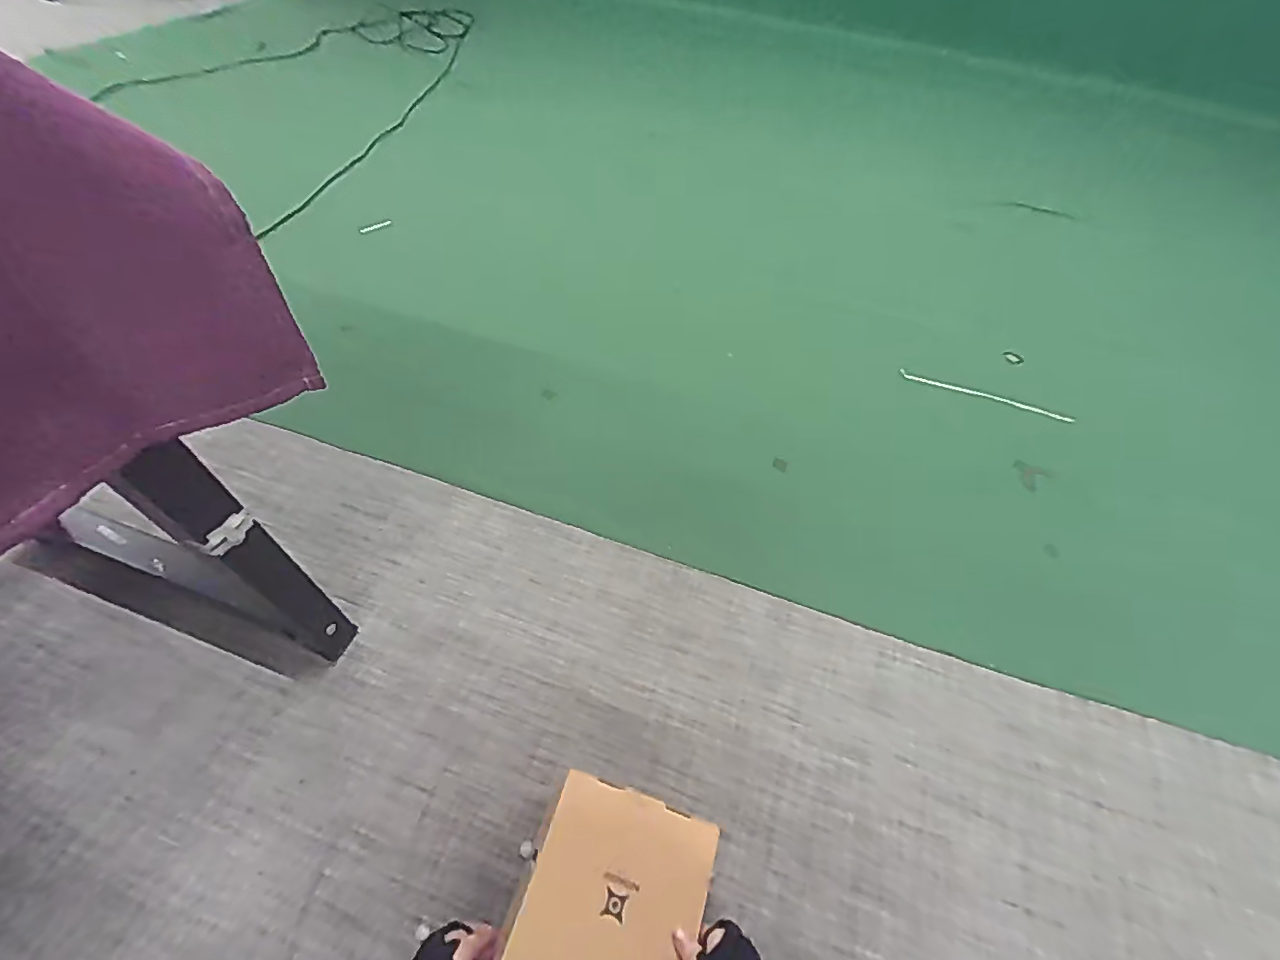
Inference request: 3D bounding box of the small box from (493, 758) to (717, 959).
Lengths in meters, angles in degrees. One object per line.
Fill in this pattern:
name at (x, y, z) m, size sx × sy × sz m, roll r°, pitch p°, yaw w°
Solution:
small box at (-0.041, 0.424, 0.573) m, size 0.168 × 0.176 × 0.179 m, roll 24°, pitch 55°, yaw -1°
